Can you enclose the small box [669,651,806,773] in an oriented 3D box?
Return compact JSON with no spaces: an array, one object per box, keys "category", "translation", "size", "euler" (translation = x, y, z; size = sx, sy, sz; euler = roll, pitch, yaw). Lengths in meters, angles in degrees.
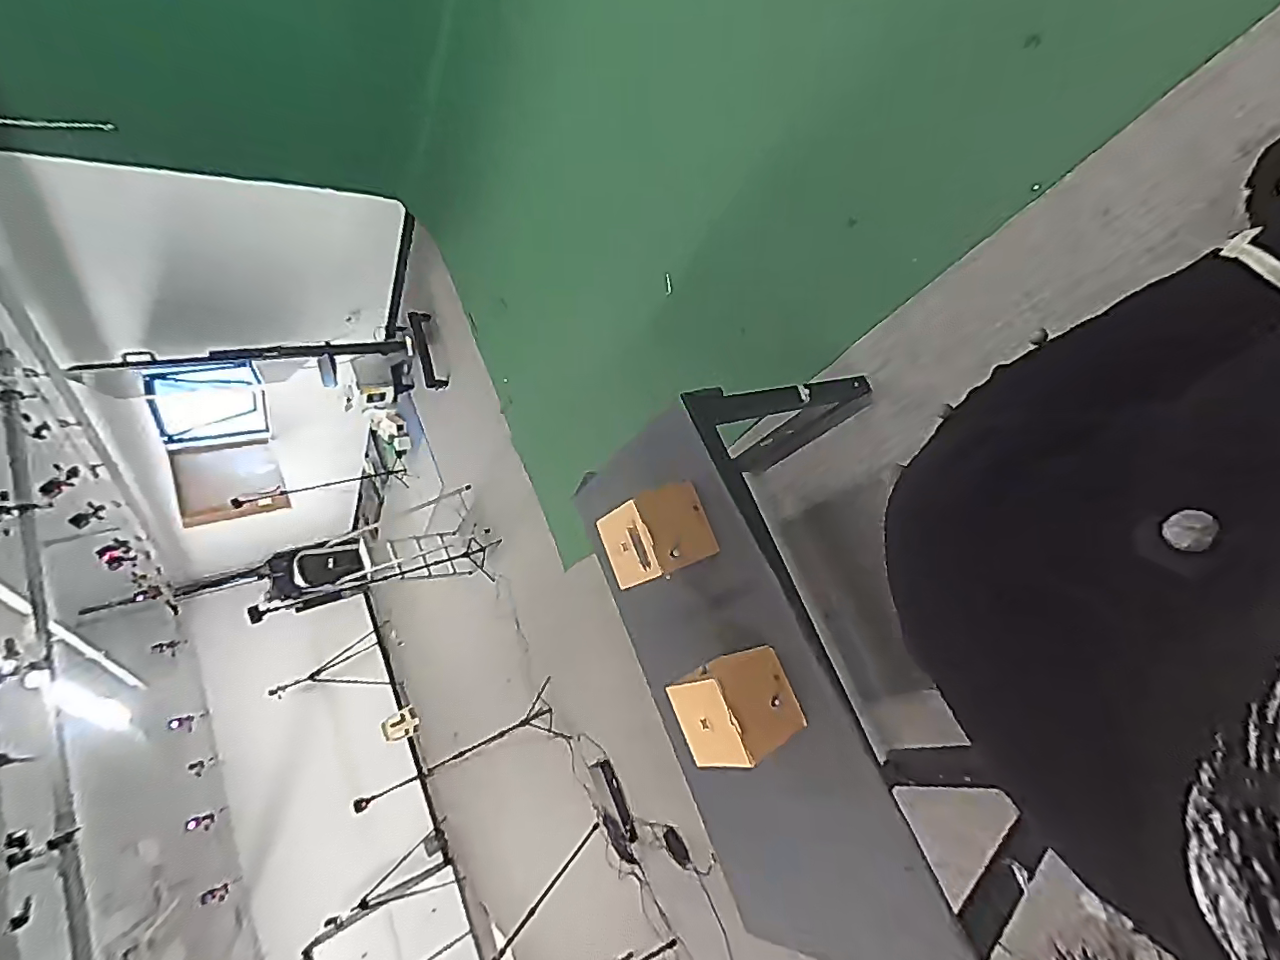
[{"category":"small box","translation":[0.193,0.460,1.079],"size":[0.179,0.176,0.168],"euler":[-40,70,50]}]
